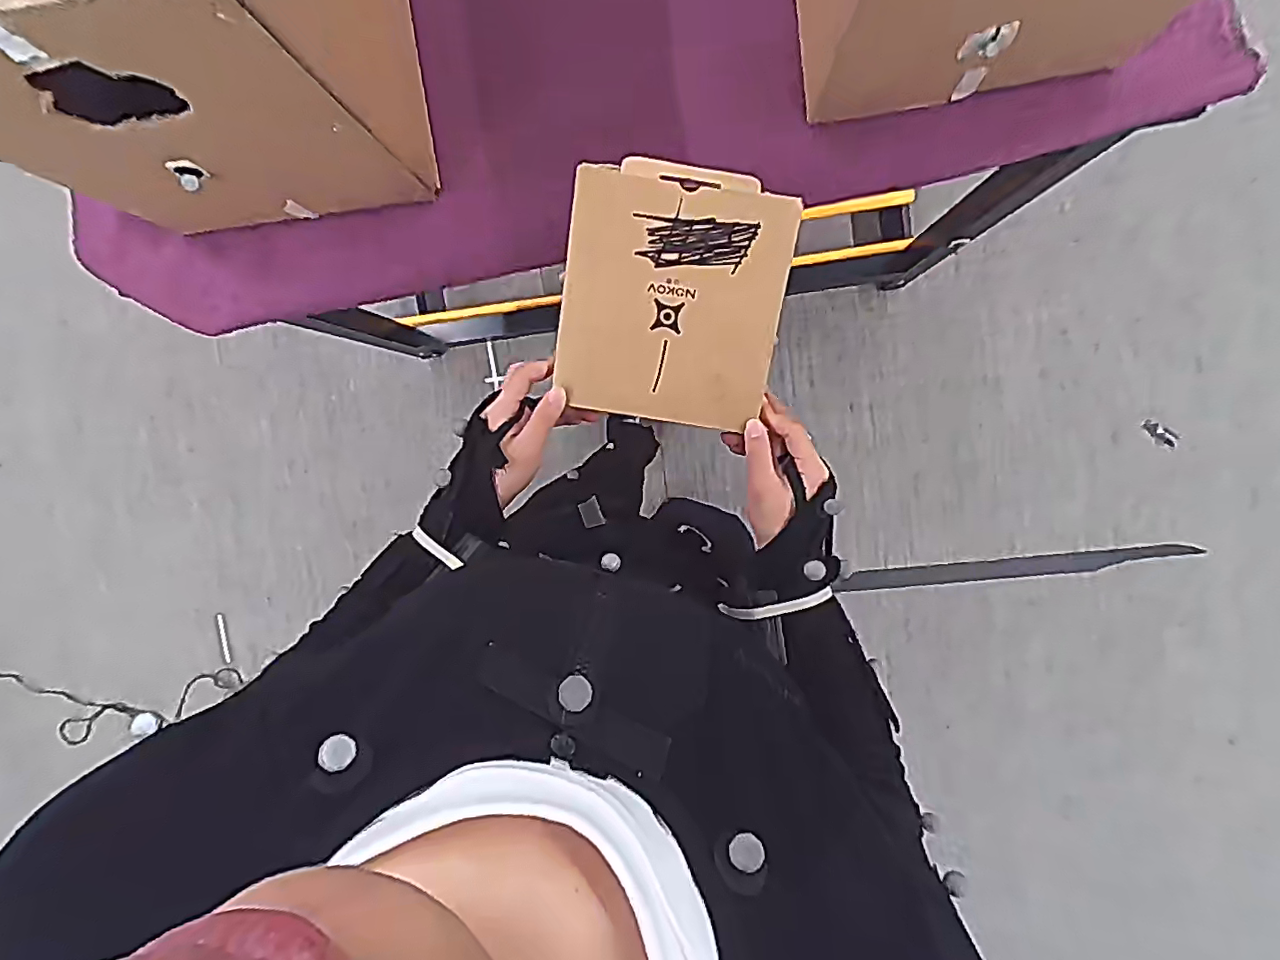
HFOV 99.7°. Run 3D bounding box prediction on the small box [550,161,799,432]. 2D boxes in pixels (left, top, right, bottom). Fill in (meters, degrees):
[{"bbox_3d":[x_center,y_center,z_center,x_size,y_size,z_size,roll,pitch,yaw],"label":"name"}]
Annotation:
[{"bbox_3d":[0.025,-0.149,0.485,0.168,0.176,0.179,9,102,1],"label":"small box"}]
